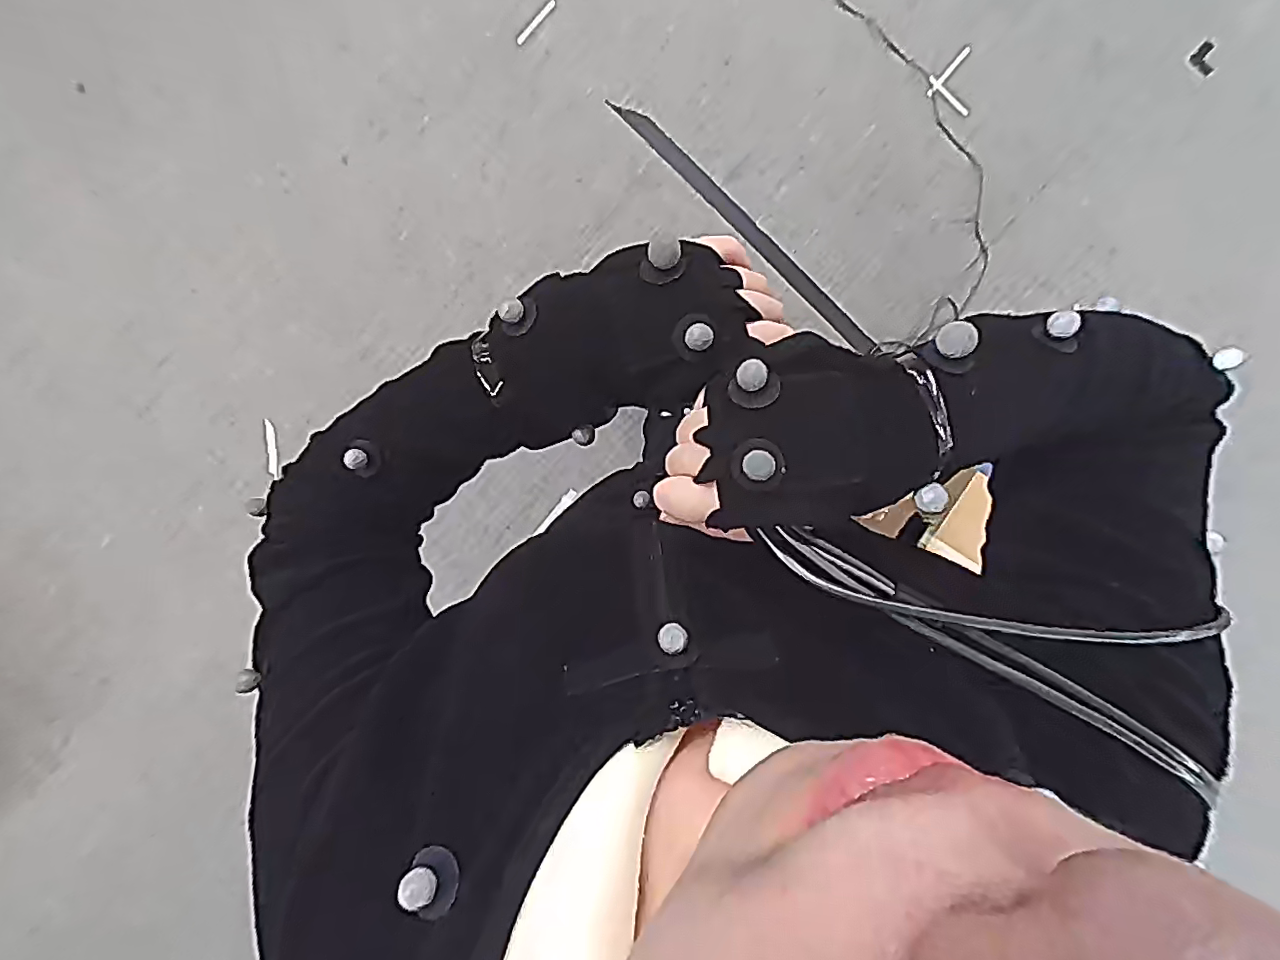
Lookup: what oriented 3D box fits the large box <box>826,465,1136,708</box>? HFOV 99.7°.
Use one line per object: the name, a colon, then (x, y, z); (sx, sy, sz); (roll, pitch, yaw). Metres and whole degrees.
large box: (0.696, 0.200, 1.174); (0.408, 0.320, 0.320); (33, 94, -3)
